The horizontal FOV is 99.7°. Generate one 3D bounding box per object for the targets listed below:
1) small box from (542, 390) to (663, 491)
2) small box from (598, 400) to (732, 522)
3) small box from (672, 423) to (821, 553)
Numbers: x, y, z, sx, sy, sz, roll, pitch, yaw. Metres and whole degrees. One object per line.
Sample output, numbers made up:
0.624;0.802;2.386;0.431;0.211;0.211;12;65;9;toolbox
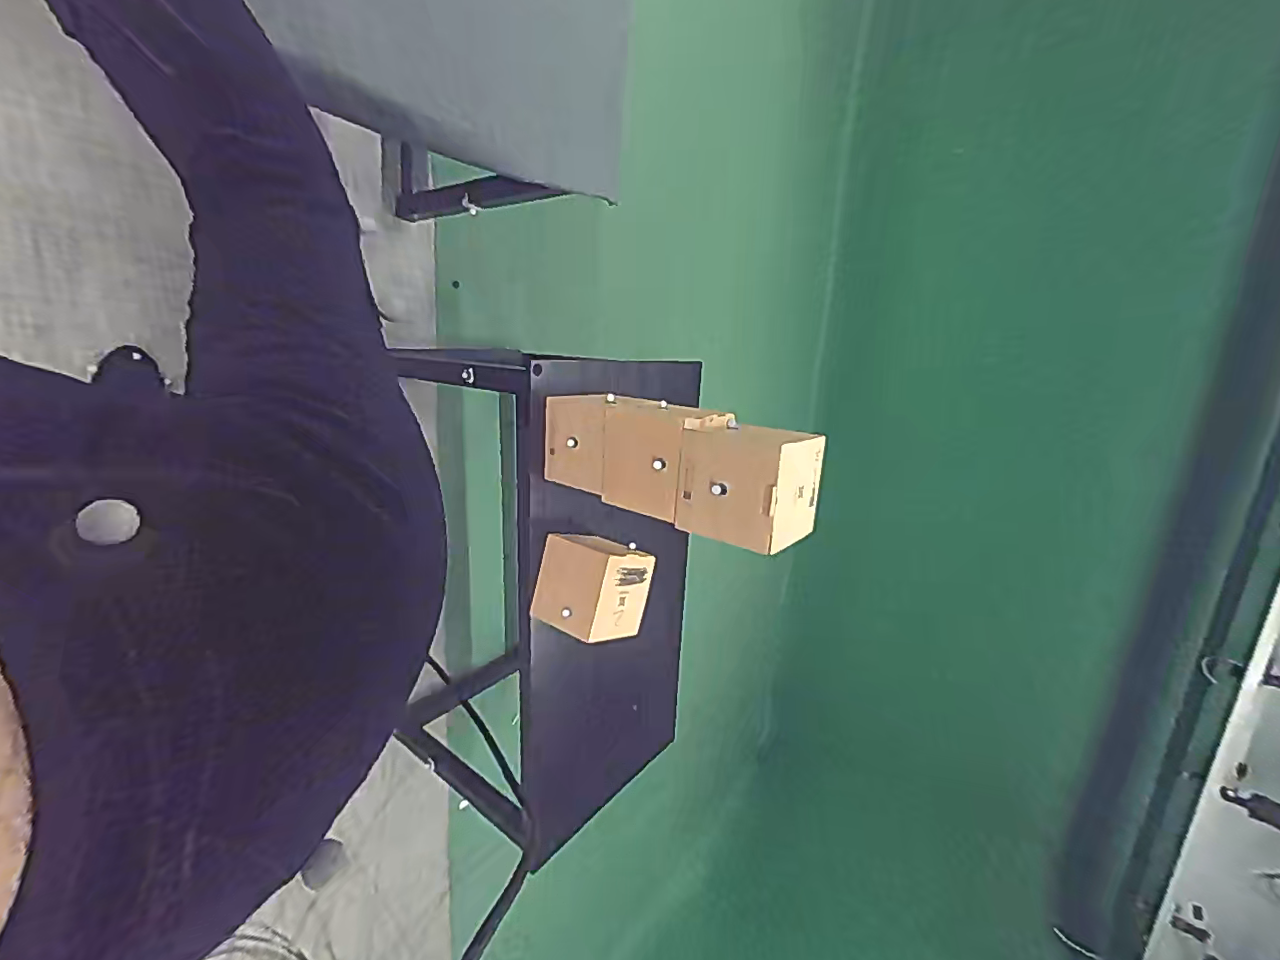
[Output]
-0.076;-0.085;1.068;0.179;0.176;0.168;-14;114;-51;small box
0.041;-0.042;0.962;0.168;0.176;0.179;-13;113;-50;small box
0.168;0.002;0.868;0.179;0.176;0.168;-11;110;-50;small box
